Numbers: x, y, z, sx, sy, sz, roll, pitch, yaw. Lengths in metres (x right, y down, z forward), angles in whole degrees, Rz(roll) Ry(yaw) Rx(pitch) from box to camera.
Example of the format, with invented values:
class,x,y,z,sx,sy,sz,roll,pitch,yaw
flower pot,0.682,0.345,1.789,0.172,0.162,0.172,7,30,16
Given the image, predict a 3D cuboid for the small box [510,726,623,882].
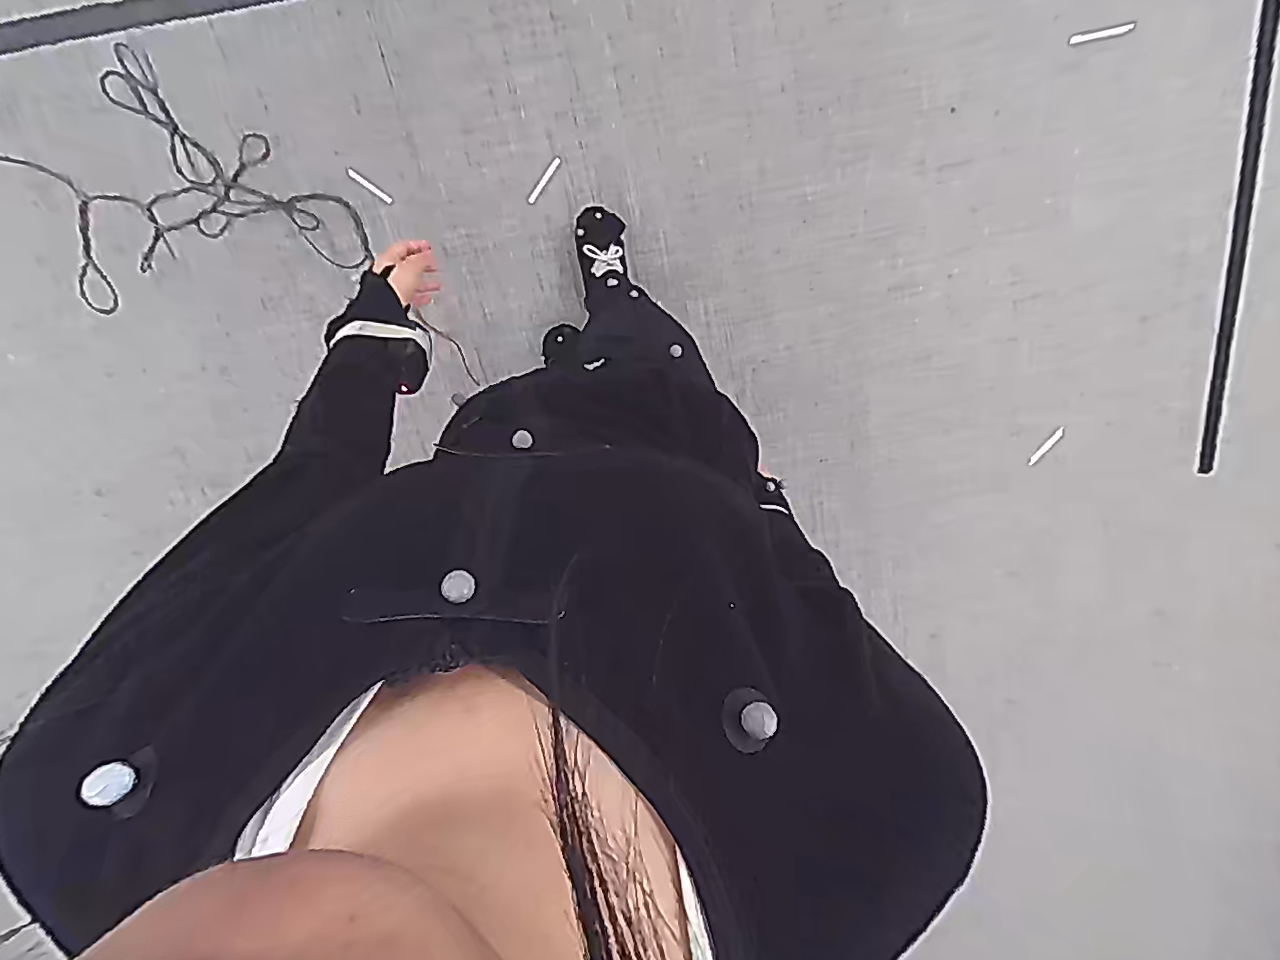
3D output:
class,x,y,z,sx,sy,sz,roll,pitch,yaw
small box,-0.131,0.580,0.992,0.168,0.176,0.179,-11,109,-2
